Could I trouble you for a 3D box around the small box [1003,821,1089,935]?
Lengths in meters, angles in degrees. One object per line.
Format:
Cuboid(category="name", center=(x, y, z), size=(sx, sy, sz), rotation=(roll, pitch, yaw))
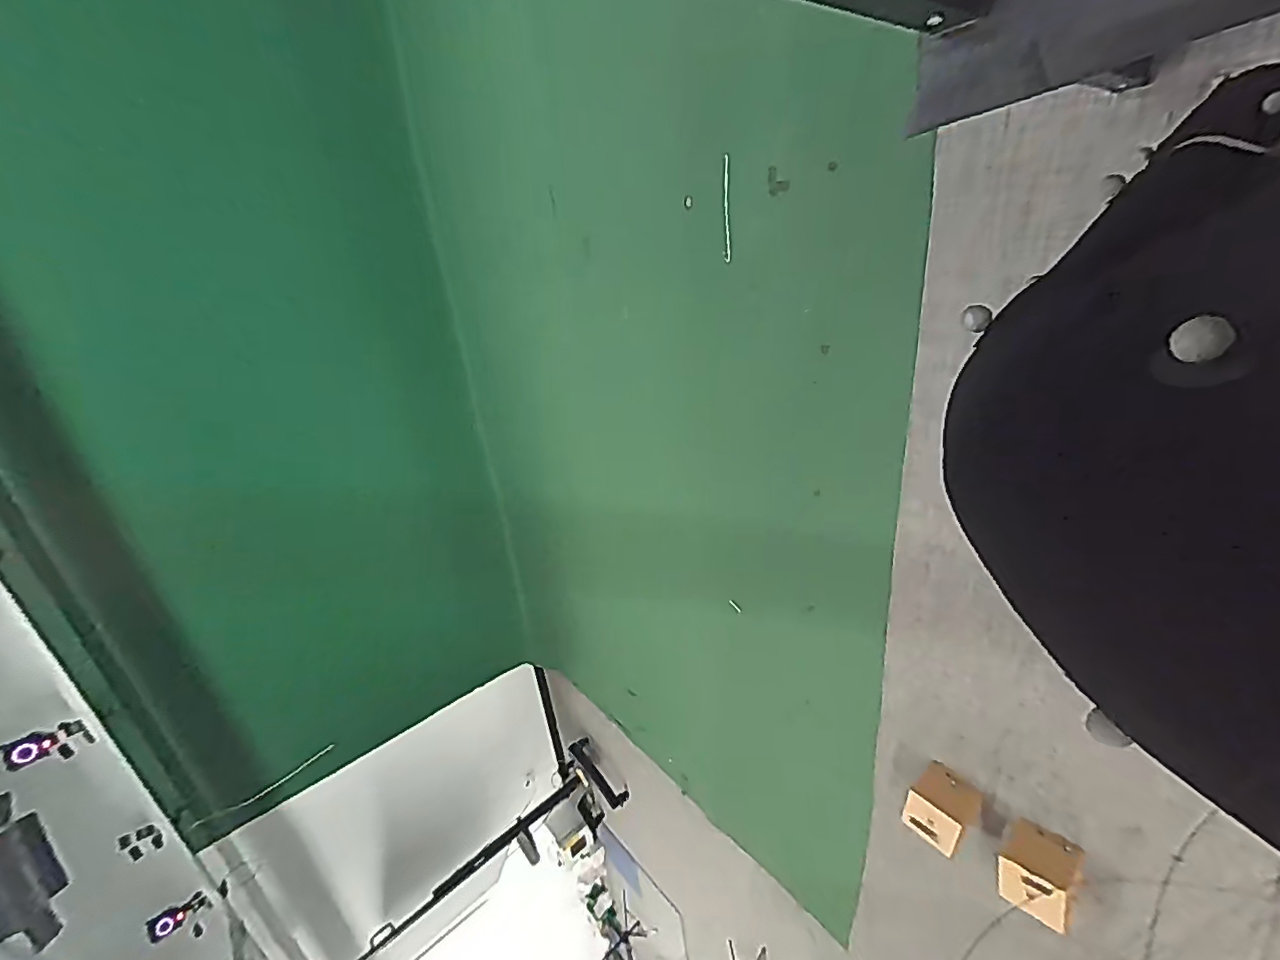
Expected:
Cuboid(category="small box", center=(1.203, 1.167, 1.602), size=(0.168, 0.176, 0.179), rotation=(11, 119, 52))
